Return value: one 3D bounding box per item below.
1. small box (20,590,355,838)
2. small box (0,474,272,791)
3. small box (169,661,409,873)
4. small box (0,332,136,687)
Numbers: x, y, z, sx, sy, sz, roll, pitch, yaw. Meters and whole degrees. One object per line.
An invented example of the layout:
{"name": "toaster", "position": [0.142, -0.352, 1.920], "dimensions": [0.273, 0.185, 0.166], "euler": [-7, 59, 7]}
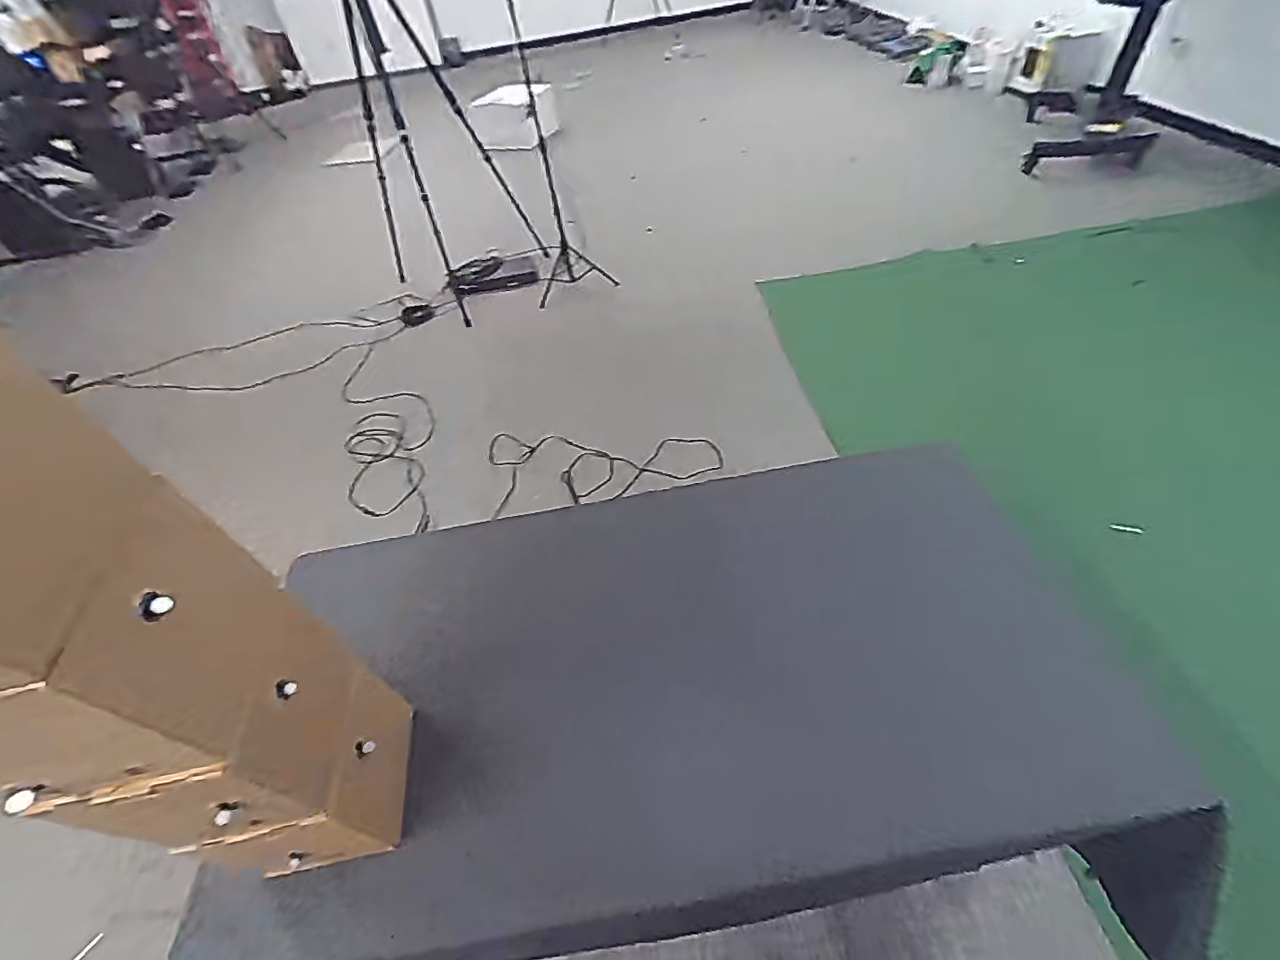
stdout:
{"name": "small box", "position": [-0.417, 0.240, 0.545], "dimensions": [0.168, 0.176, 0.179], "euler": [-10, 48, -2]}
{"name": "small box", "position": [-0.436, 0.126, 0.429], "dimensions": [0.168, 0.176, 0.179], "euler": [-11, 47, -4]}
{"name": "small box", "position": [-0.402, 0.352, 0.663], "dimensions": [0.168, 0.176, 0.179], "euler": [-12, 48, -2]}
{"name": "small box", "position": [-0.455, 0.016, 0.307], "dimensions": [0.168, 0.176, 0.179], "euler": [-13, 48, -4]}
